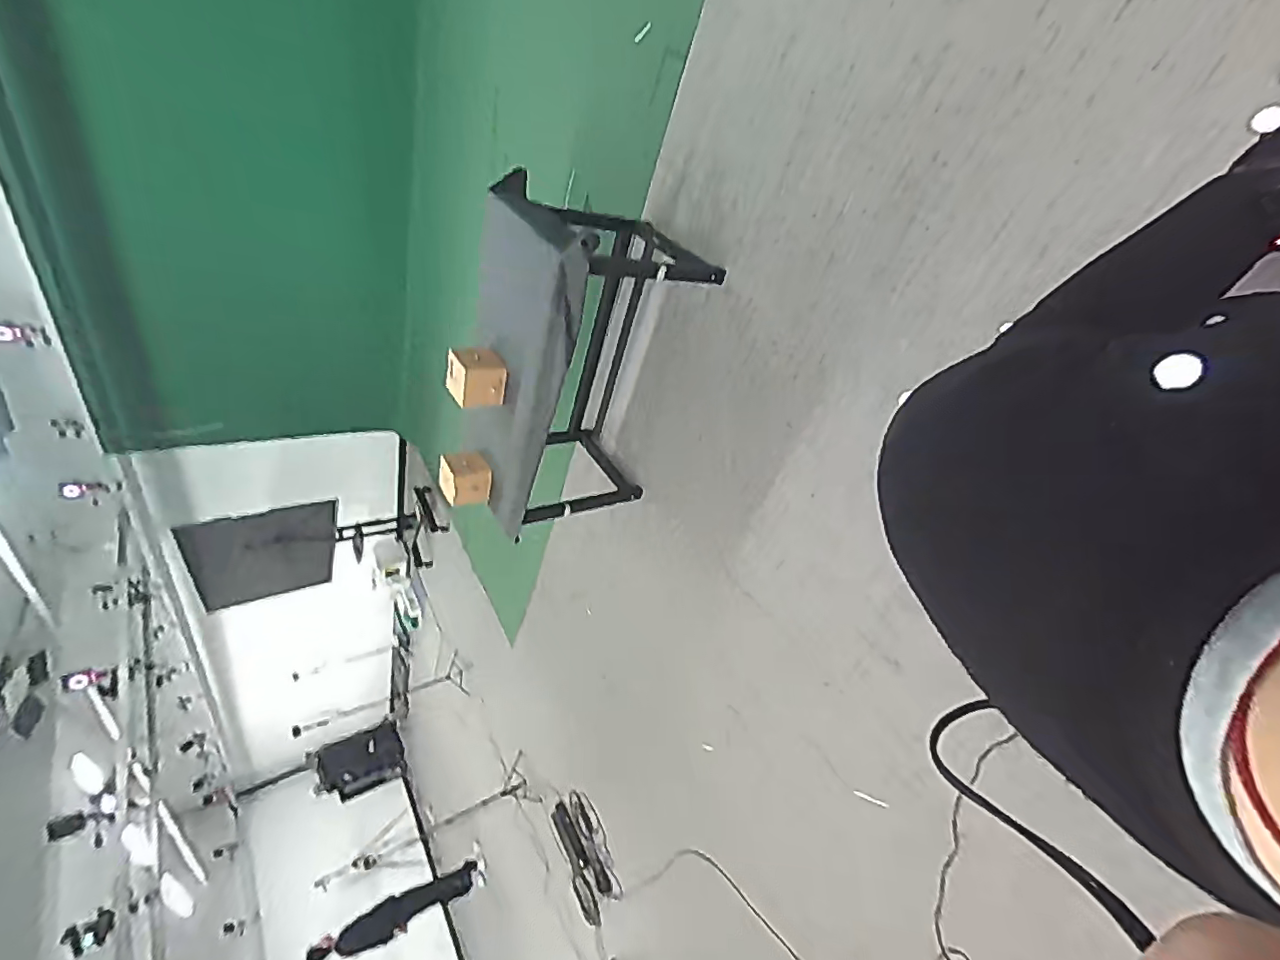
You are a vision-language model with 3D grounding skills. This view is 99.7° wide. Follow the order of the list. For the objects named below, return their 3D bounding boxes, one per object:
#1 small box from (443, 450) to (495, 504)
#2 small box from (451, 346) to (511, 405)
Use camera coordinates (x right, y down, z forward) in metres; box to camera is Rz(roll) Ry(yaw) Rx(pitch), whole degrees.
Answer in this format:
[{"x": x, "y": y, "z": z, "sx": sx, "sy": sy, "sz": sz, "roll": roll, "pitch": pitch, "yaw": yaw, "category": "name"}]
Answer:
[{"x": -0.759, "y": -0.020, "z": 2.401, "sx": 0.179, "sy": 0.176, "sz": 0.168, "roll": 46, "pitch": 132, "yaw": 37, "category": "small box"}, {"x": -0.625, "y": -0.410, "z": 2.118, "sx": 0.179, "sy": 0.176, "sz": 0.168, "roll": 48, "pitch": 134, "yaw": 35, "category": "small box"}]
